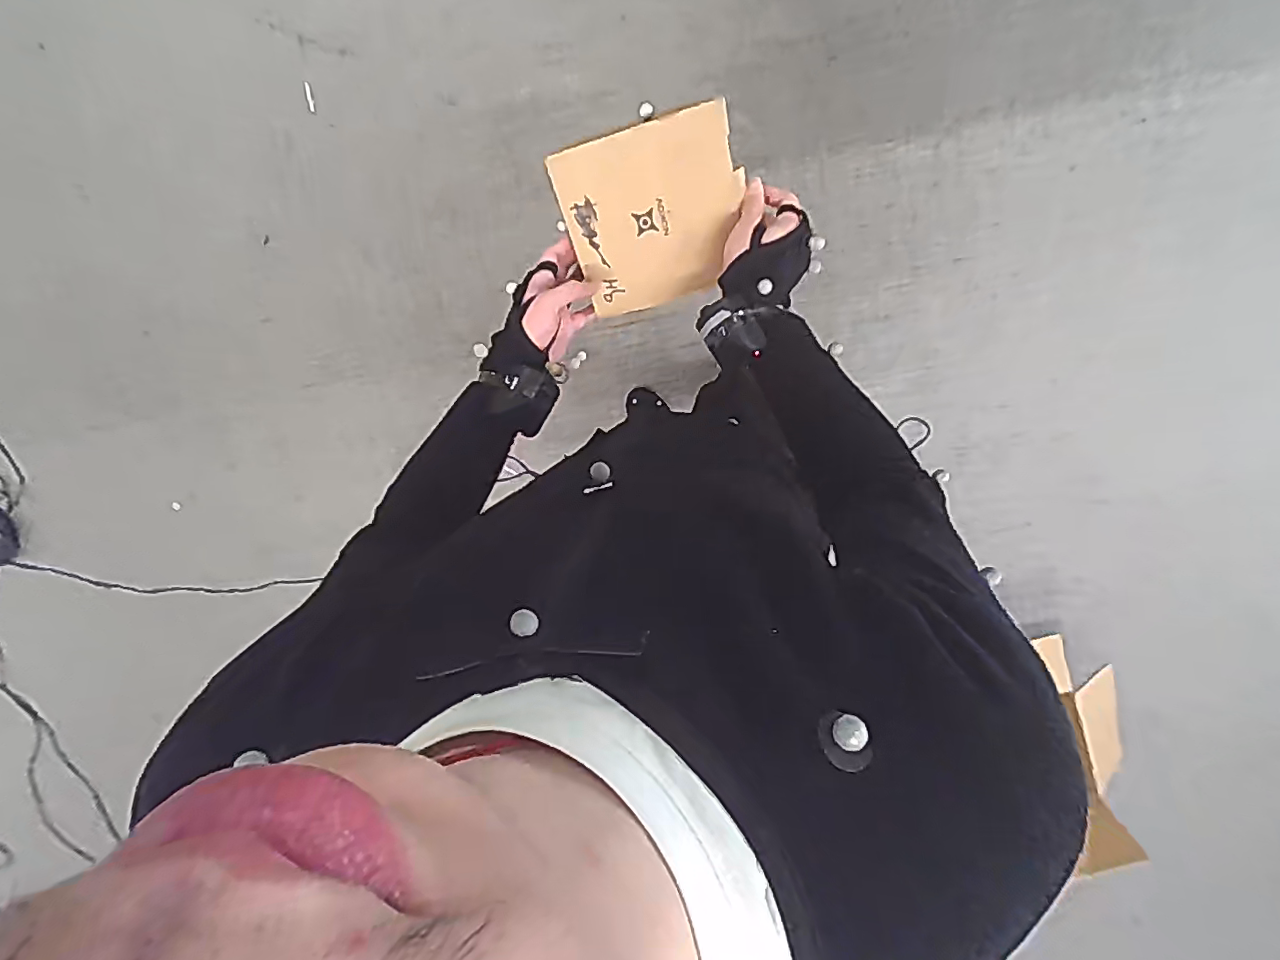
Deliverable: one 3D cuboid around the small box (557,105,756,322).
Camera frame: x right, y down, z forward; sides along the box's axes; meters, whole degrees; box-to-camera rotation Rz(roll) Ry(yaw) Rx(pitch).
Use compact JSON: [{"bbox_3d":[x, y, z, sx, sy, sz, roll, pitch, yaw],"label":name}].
[{"bbox_3d":[0.021,-0.307,0.616,0.179,0.176,0.168,-13,125,10],"label":"small box"}]
